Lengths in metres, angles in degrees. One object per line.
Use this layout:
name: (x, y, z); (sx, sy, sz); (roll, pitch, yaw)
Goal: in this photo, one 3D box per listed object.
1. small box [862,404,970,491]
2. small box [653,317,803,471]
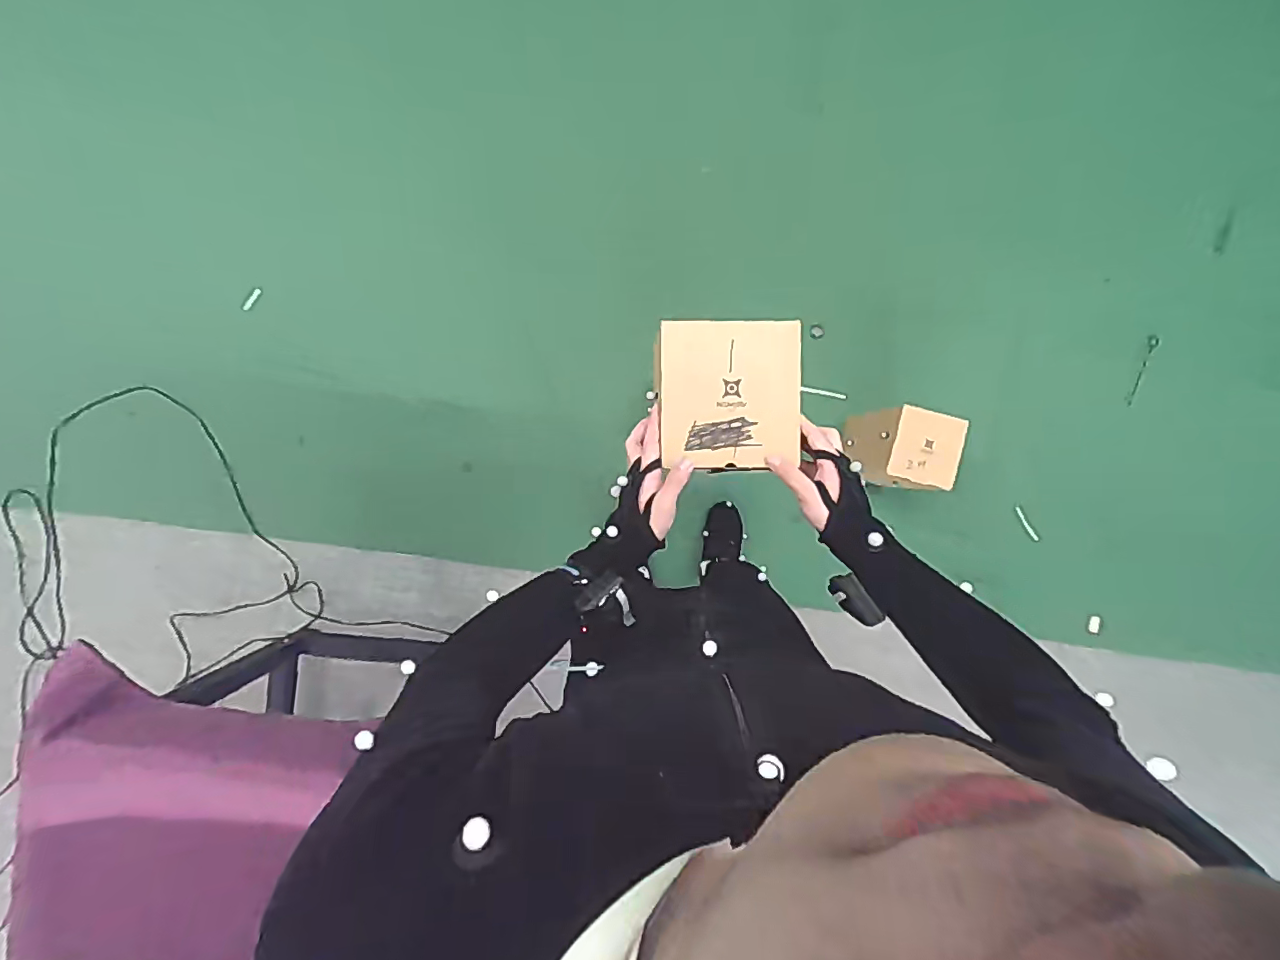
small box: (0.685, -0.078, 1.362); (0.168, 0.176, 0.179); (14, 91, -1)
small box: (0.103, -0.102, 0.698); (0.168, 0.176, 0.179); (0, 92, -1)
